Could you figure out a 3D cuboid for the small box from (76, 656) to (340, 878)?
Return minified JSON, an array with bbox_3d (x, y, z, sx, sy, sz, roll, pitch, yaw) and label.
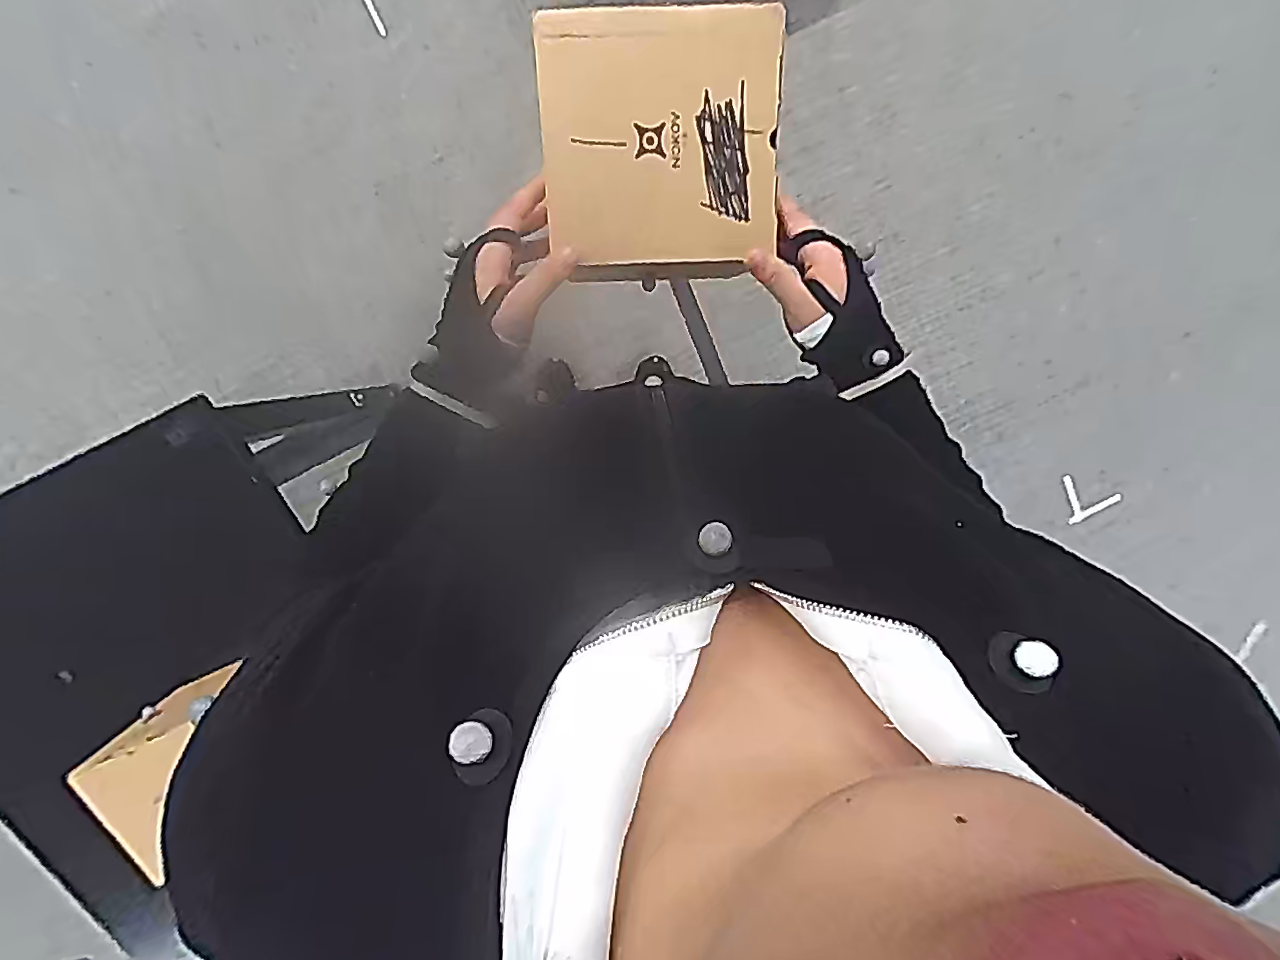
[{"bbox_3d":[-0.546,0.360,0.714,0.168,0.176,0.179,-25,104,3],"label":"small box"}]
